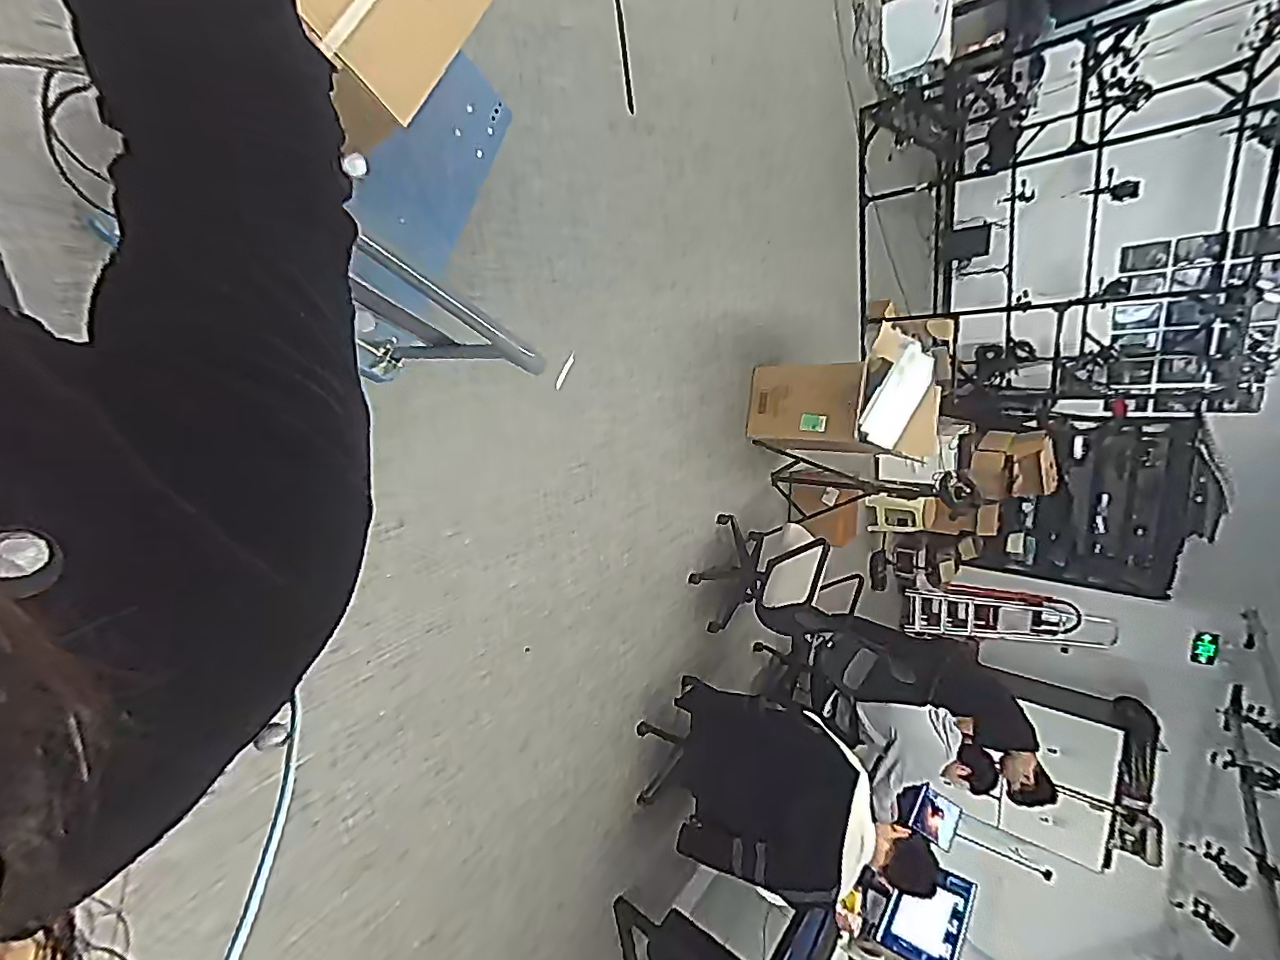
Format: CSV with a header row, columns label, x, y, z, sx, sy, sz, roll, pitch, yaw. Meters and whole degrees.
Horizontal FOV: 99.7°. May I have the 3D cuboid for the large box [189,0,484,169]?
label,x,y,z,sx,sy,sz,roll,pitch,yaw
large box,-0.577,-0.918,1.059,0.320,0.320,0.408,39,66,-46
